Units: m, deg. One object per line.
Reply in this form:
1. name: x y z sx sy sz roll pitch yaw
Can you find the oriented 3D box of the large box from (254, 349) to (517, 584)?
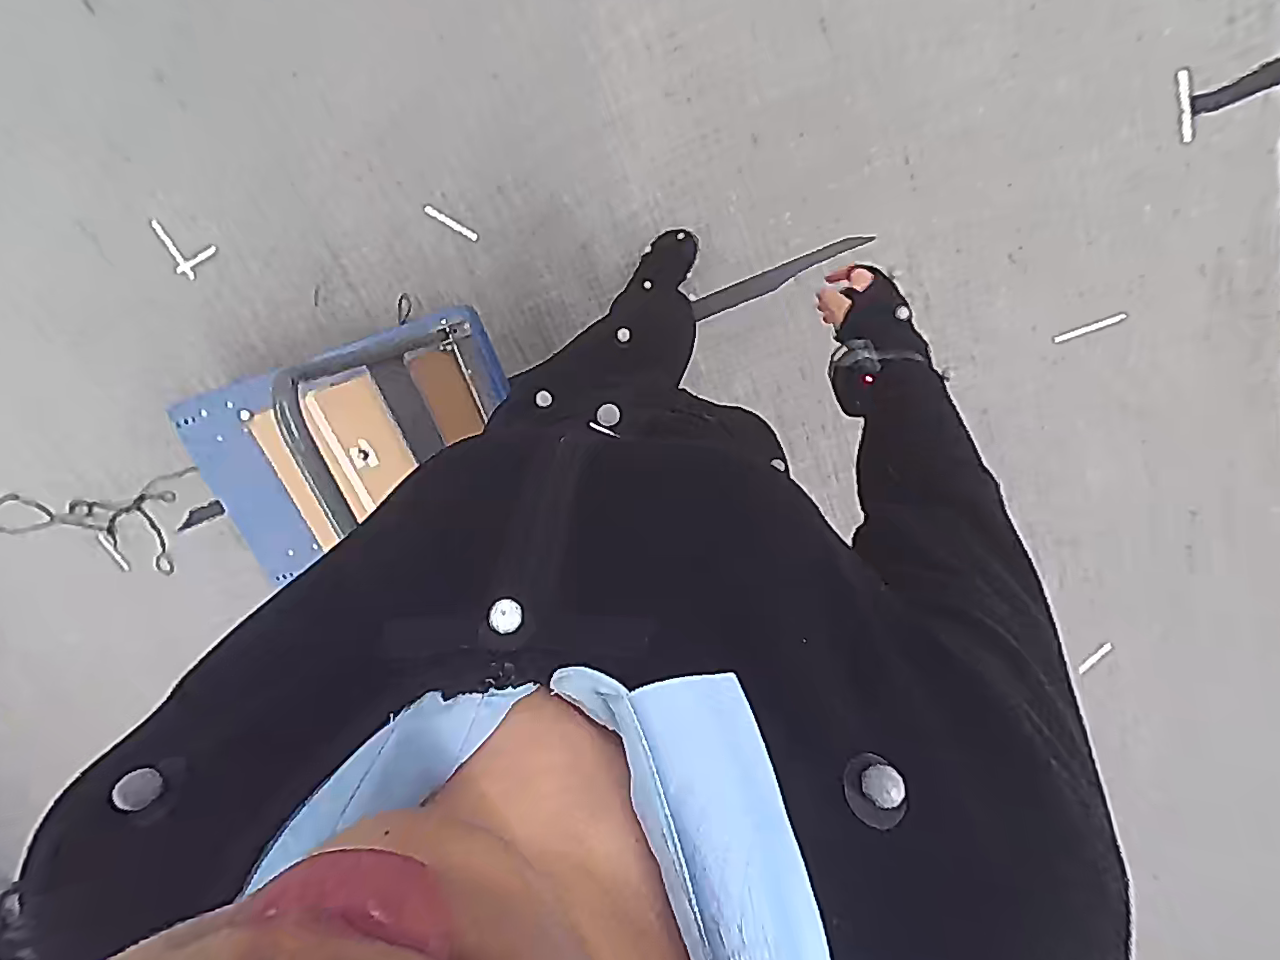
1. large box: -0.532 -0.039 1.223 0.320 0.320 0.408 -16 109 11
